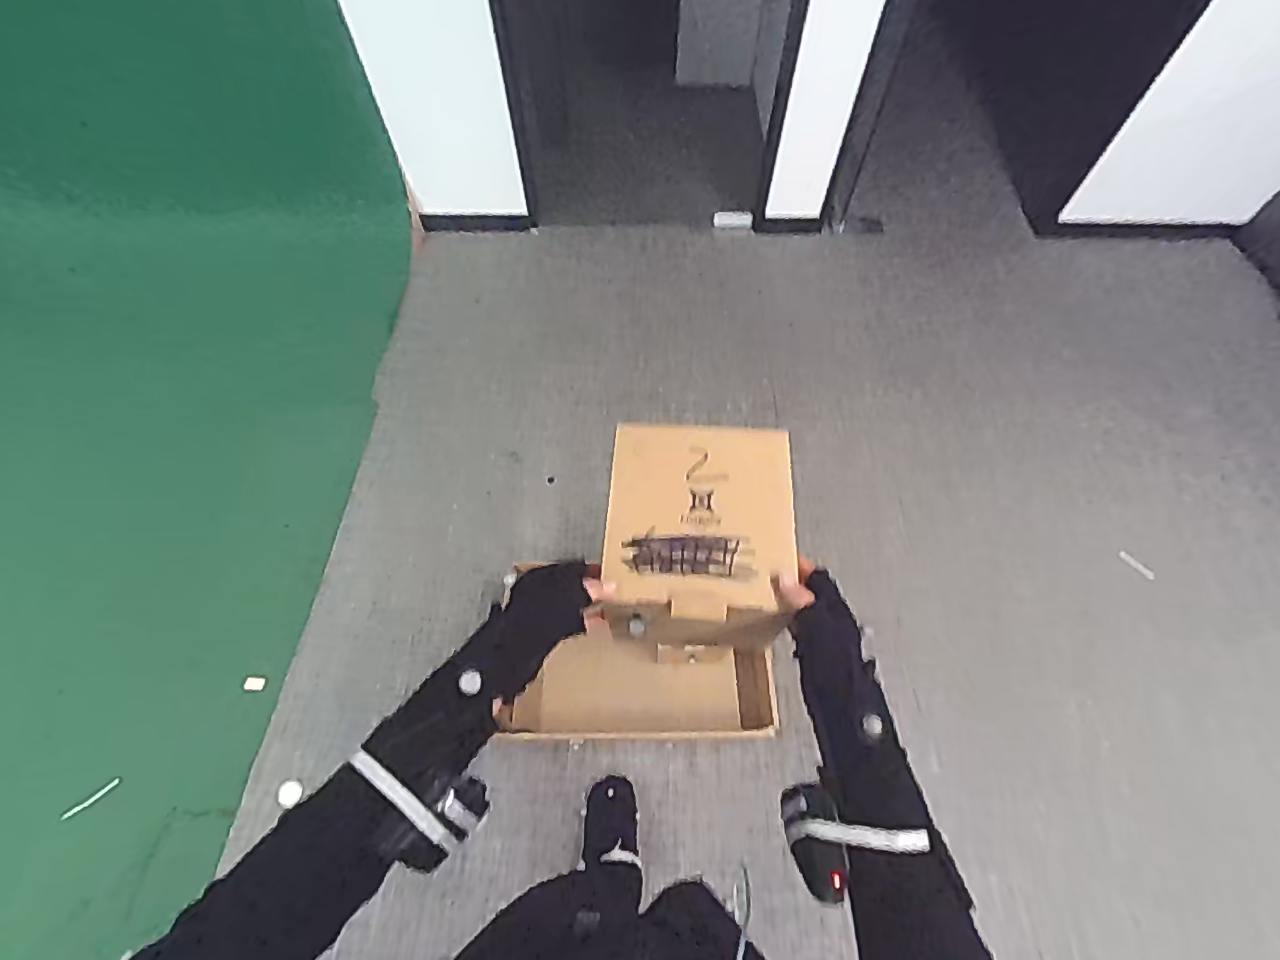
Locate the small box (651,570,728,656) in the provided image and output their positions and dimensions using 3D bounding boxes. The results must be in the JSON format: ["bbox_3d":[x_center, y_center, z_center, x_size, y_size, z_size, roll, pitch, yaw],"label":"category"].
[{"bbox_3d":[0.116,0.323,1.313,0.168,0.176,0.179,-5,59,-1],"label":"small box"}]

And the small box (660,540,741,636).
[{"bbox_3d":[0.128,0.230,1.156,0.168,0.176,0.179,0,60,1],"label":"small box"}]

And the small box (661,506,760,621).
[{"bbox_3d":[0.126,0.163,1.025,0.168,0.176,0.179,1,60,0],"label":"small box"}]
